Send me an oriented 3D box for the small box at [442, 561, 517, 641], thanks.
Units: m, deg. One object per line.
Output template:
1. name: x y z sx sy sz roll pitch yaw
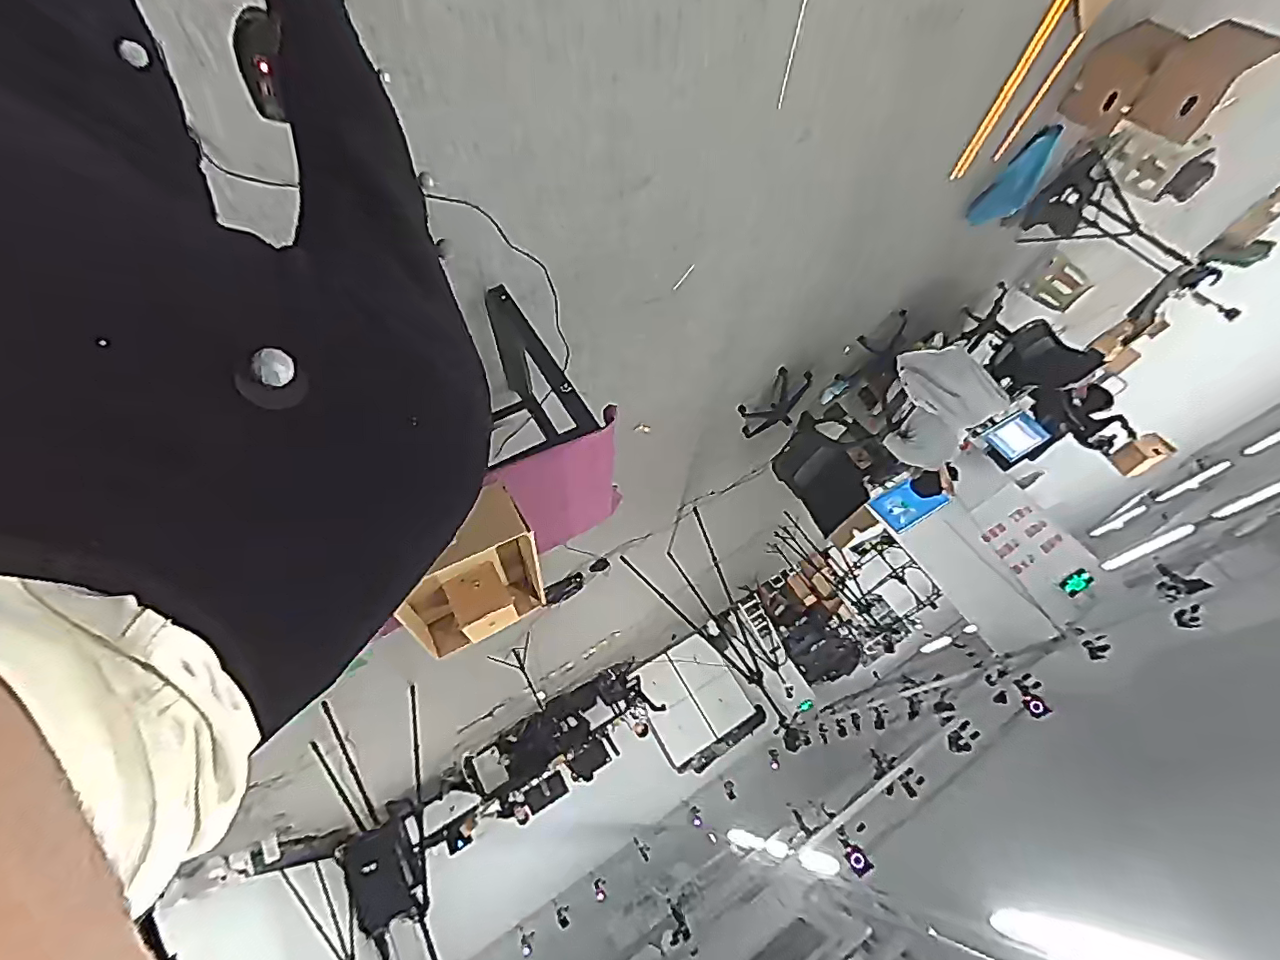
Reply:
1. small box: -0.516 0.387 1.744 0.168 0.176 0.179 -26 153 -17
